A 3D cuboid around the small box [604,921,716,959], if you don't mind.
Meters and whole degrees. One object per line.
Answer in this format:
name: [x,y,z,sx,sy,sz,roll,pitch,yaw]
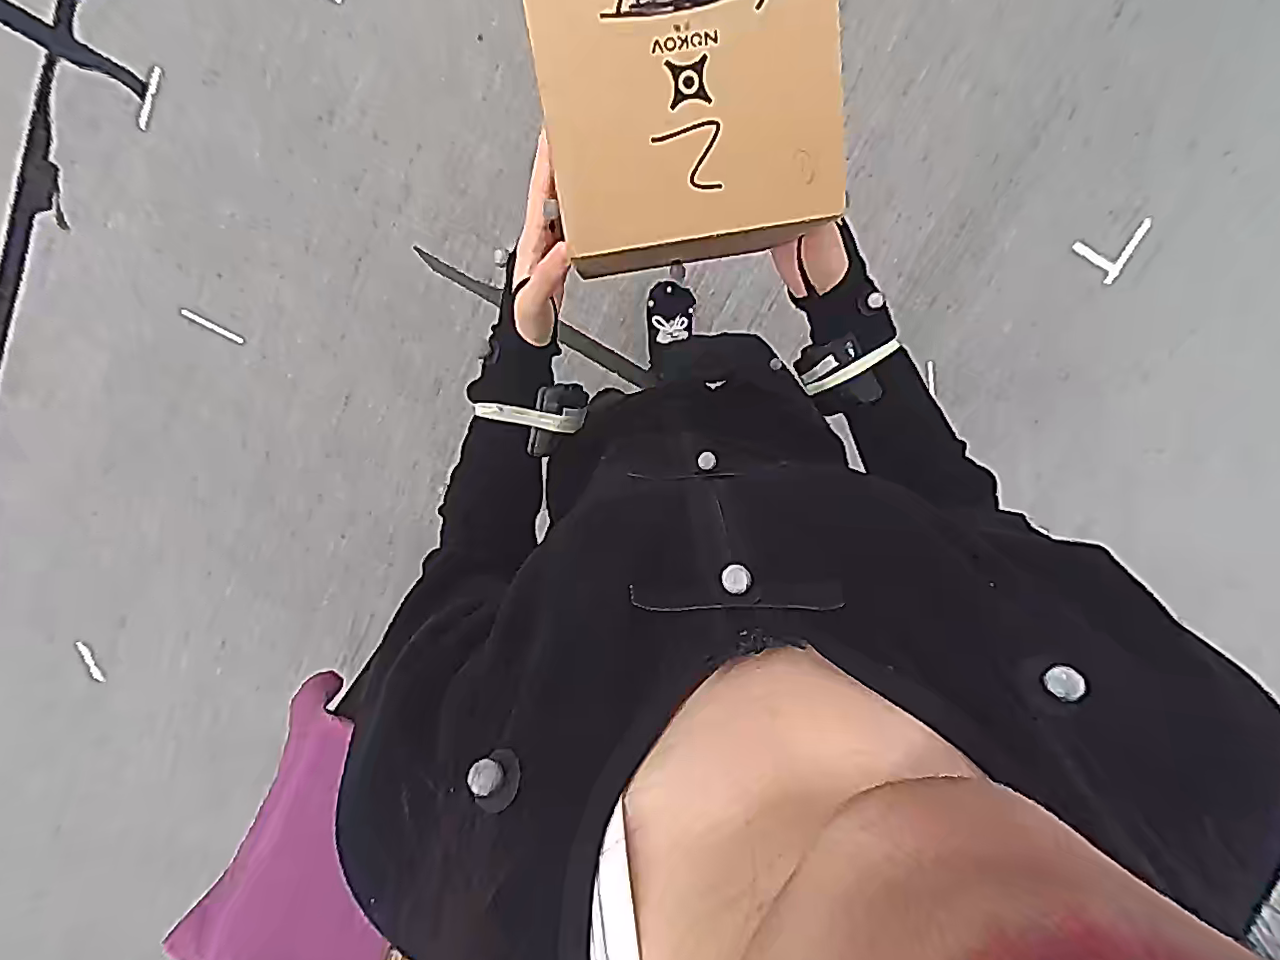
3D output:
small box: [0.034,0.923,0.941,0.179,0.176,0.168,25,103,-9]
